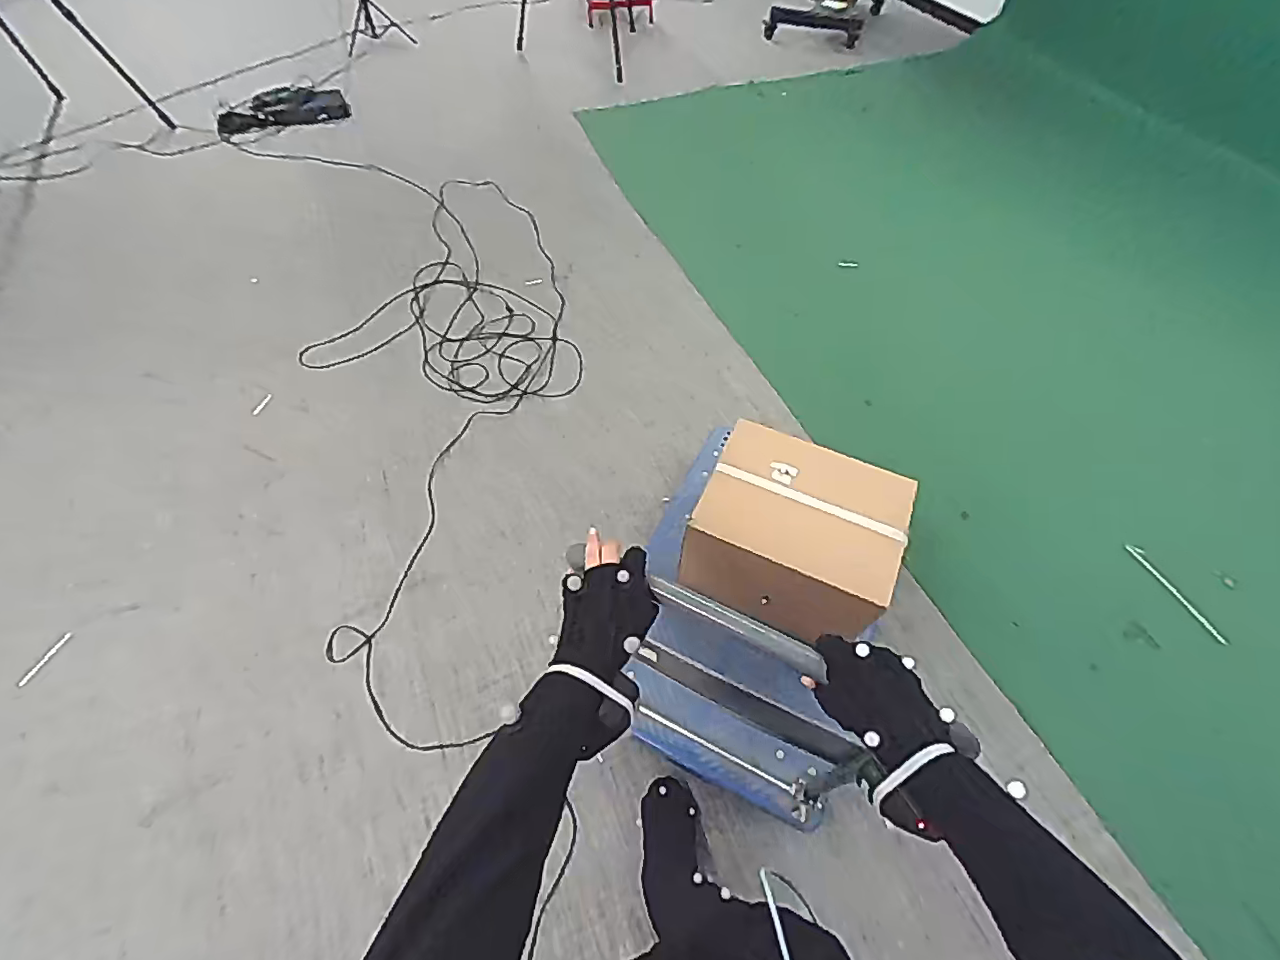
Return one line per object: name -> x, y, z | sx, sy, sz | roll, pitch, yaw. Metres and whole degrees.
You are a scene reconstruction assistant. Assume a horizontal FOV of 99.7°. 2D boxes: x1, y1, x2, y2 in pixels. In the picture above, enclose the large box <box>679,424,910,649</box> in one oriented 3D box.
large box -> 0.337, 0.134, 1.249 | 0.408, 0.320, 0.320 | 22, 59, 14
